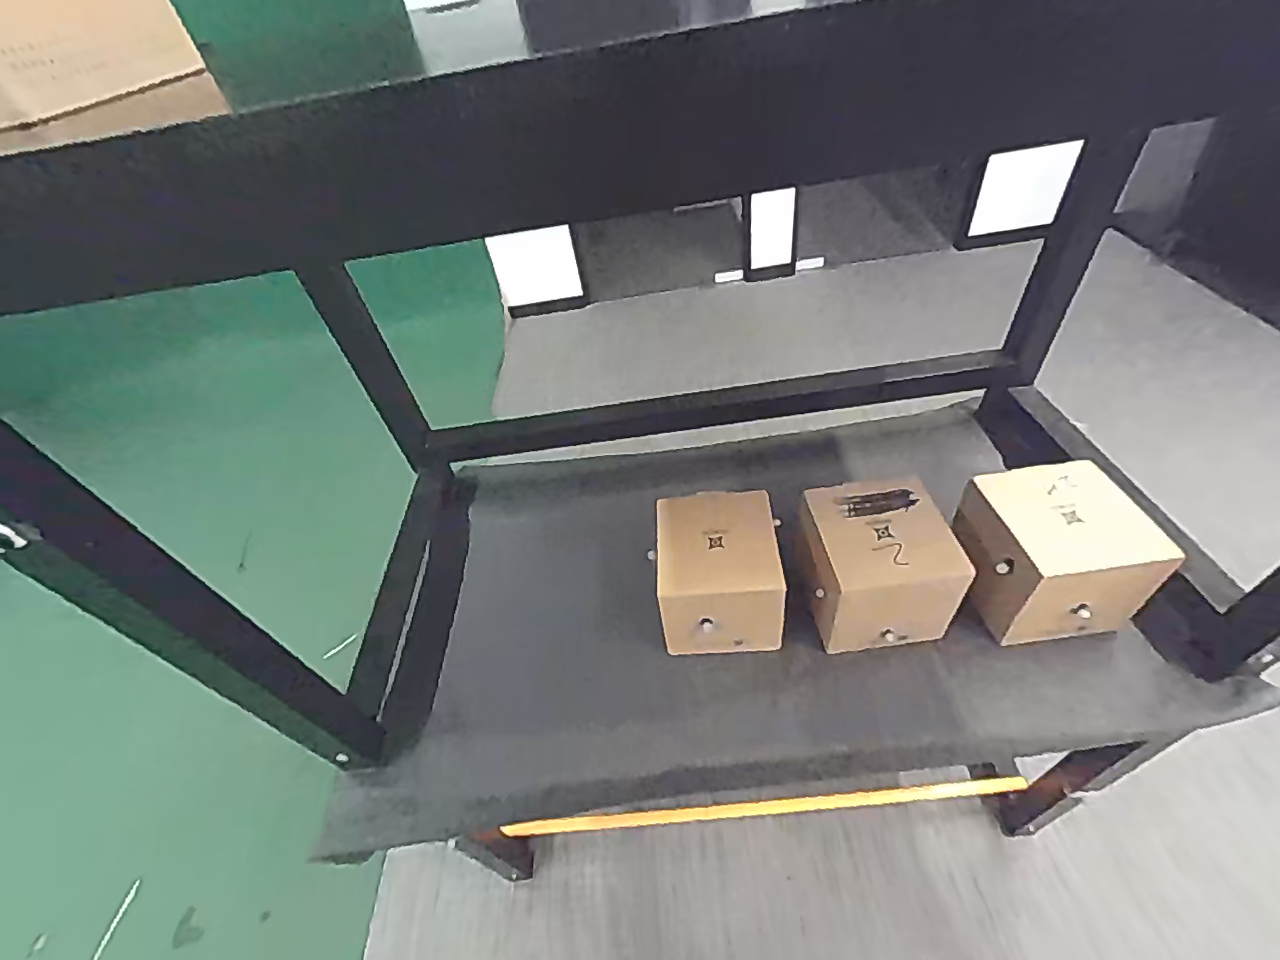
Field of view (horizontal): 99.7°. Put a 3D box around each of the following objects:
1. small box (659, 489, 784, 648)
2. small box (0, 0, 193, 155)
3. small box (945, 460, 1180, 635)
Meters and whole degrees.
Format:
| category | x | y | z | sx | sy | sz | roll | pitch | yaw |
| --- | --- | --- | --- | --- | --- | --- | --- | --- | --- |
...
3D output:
| category | x | y | z | sx | sy | sz | roll | pitch | yaw |
| --- | --- | --- | --- | --- | --- | --- | --- | --- | --- |
| small box | 0.119 | 0.138 | 0.808 | 0.168 | 0.176 | 0.179 | -5 | 45 | 6 |
| small box | -0.388 | -0.274 | 0.274 | 0.168 | 0.176 | 0.179 | -8 | 46 | 2 |
| small box | 0.563 | 0.101 | 0.754 | 0.168 | 0.176 | 0.179 | -9 | 44 | 2 |
